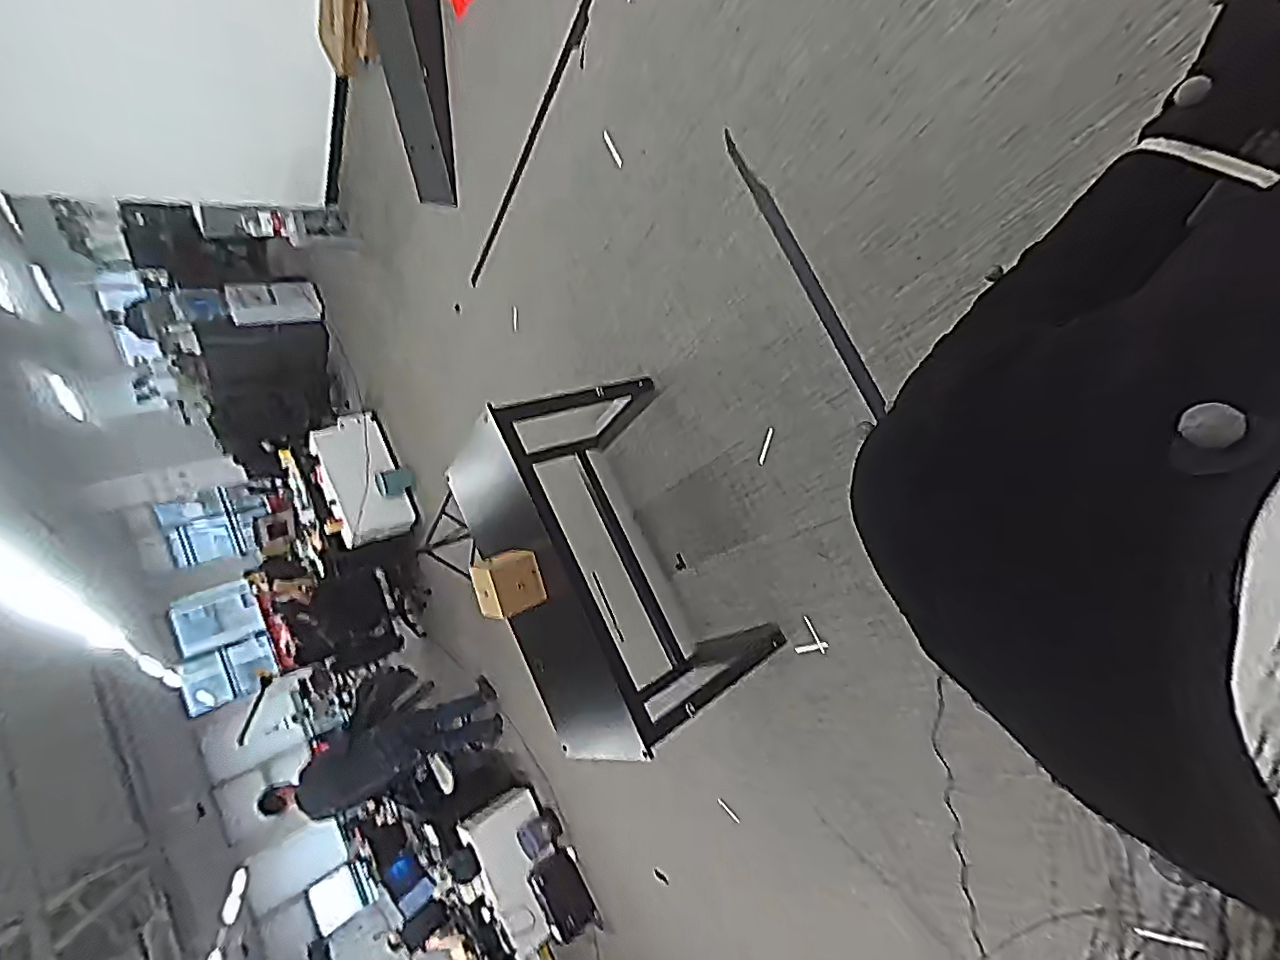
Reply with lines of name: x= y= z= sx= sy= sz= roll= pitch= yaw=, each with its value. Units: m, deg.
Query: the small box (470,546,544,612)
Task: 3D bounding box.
small box: x=-0.439 y=0.325 z=1.814 sx=0.179 sy=0.176 sz=0.168 roll=-7 pitch=99 yaw=52
